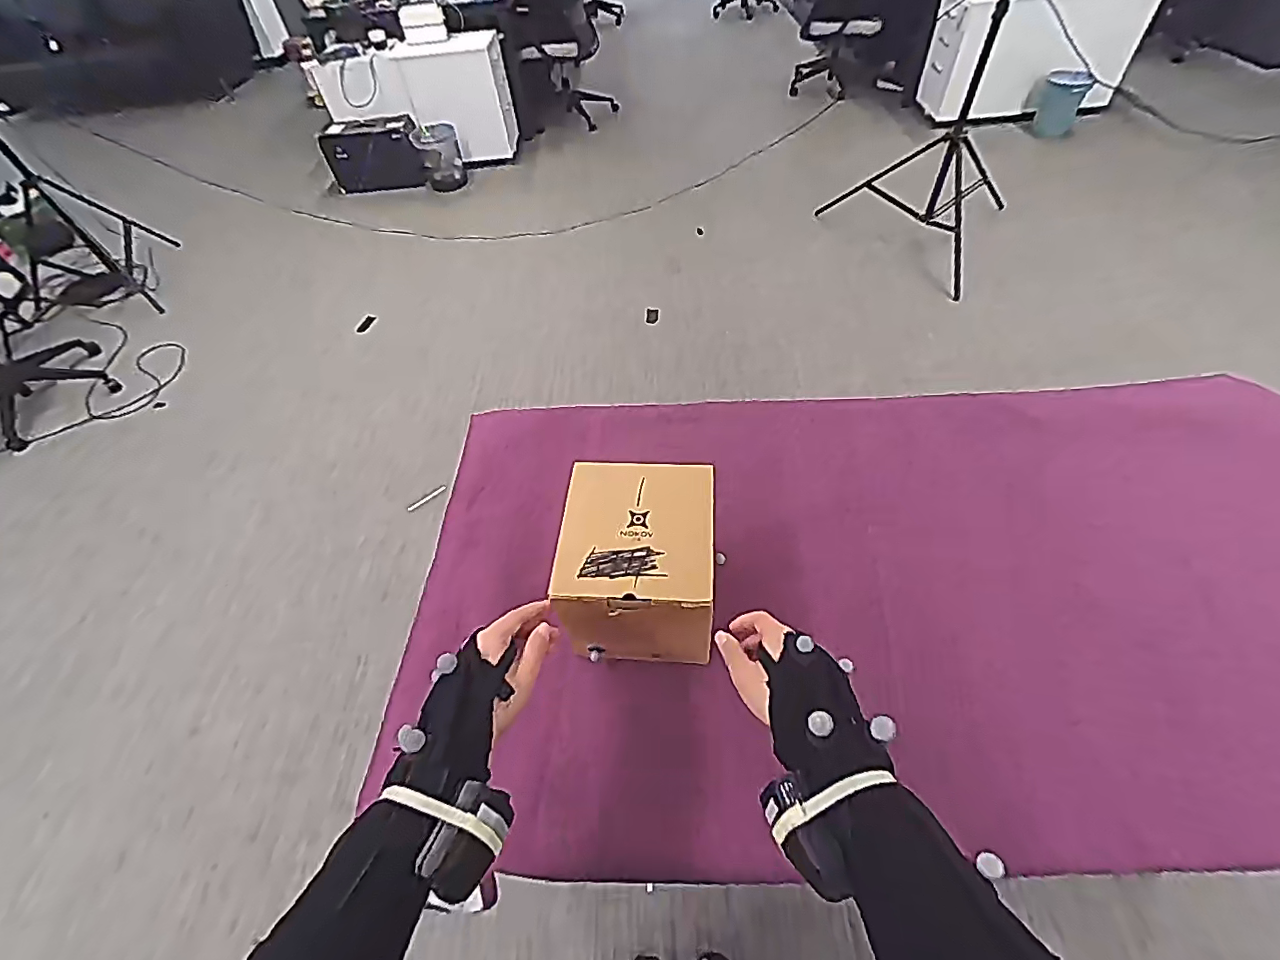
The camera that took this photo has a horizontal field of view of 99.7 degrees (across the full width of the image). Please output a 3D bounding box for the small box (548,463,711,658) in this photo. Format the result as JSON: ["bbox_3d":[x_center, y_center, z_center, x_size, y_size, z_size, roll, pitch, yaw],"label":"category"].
[{"bbox_3d":[0.000,0.099,0.646,0.168,0.176,0.179,2,51,6],"label":"small box"}]
